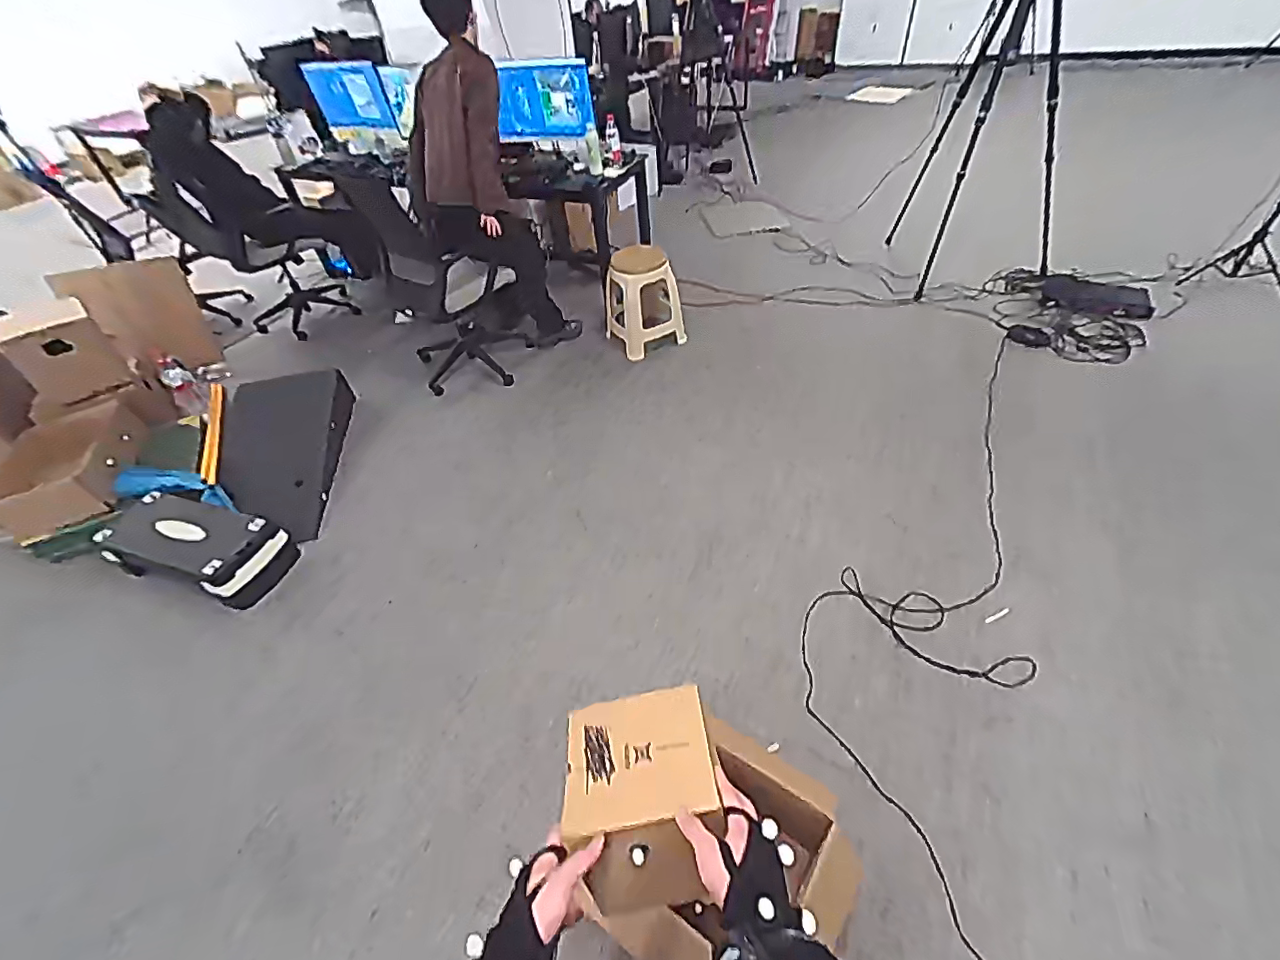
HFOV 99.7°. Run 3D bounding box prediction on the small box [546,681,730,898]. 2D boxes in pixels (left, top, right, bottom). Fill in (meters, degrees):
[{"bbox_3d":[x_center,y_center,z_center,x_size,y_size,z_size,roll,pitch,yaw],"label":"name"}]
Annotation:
[{"bbox_3d":[0.003,0.383,0.670,0.179,0.176,0.168,-12,29,7],"label":"small box"}]
